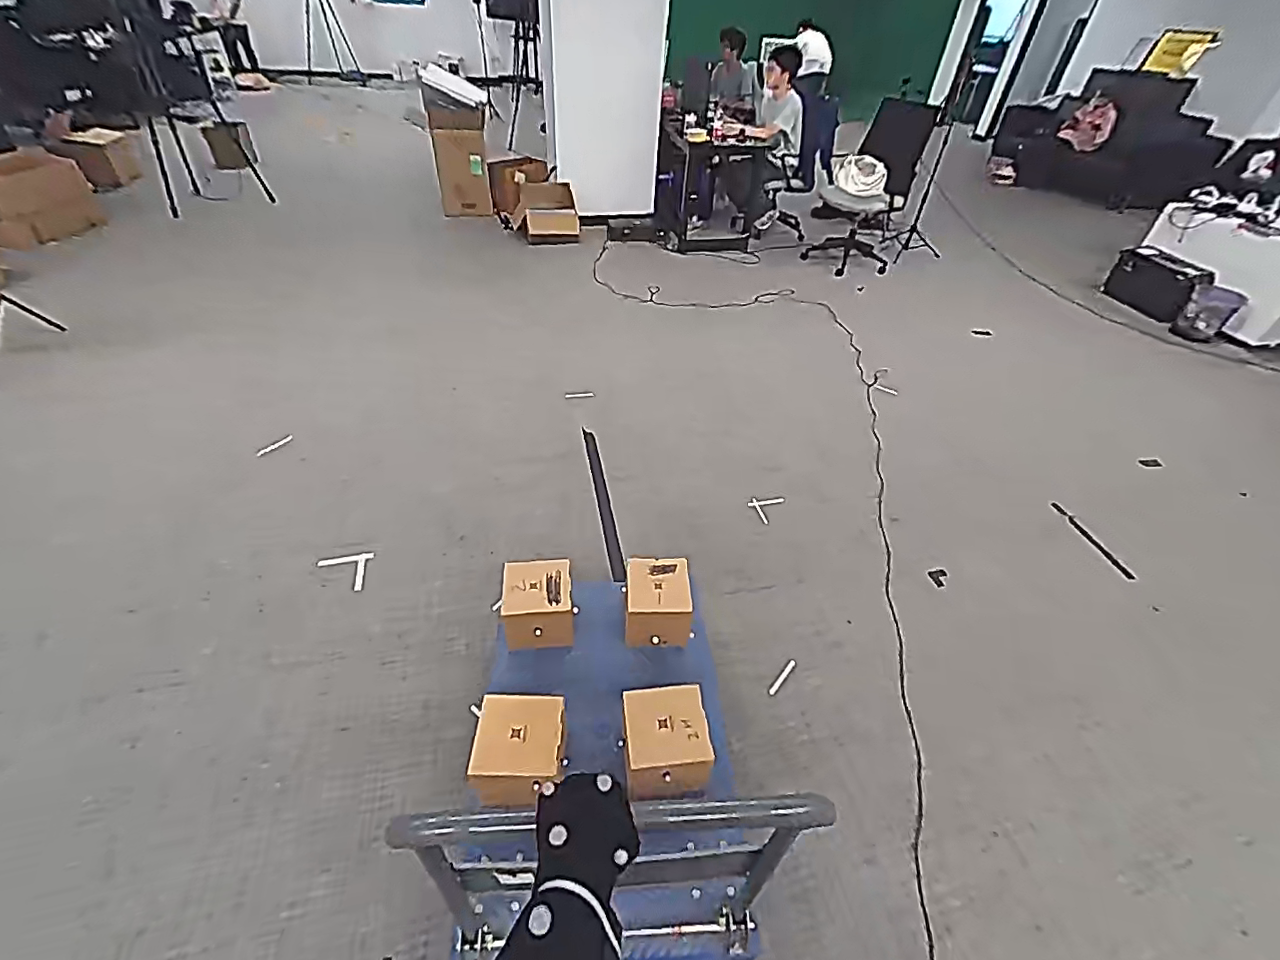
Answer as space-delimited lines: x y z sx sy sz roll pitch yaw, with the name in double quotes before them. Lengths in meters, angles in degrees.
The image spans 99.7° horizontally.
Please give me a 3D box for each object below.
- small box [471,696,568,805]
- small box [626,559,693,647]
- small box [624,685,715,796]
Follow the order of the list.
"small box" -0.251 0.587 1.171 0.179 0.176 0.168 3 41 -3
"small box" 0.047 0.334 1.473 0.168 0.176 0.179 0 43 -3
"small box" 0.057 0.579 1.200 0.179 0.176 0.168 -3 42 -7
